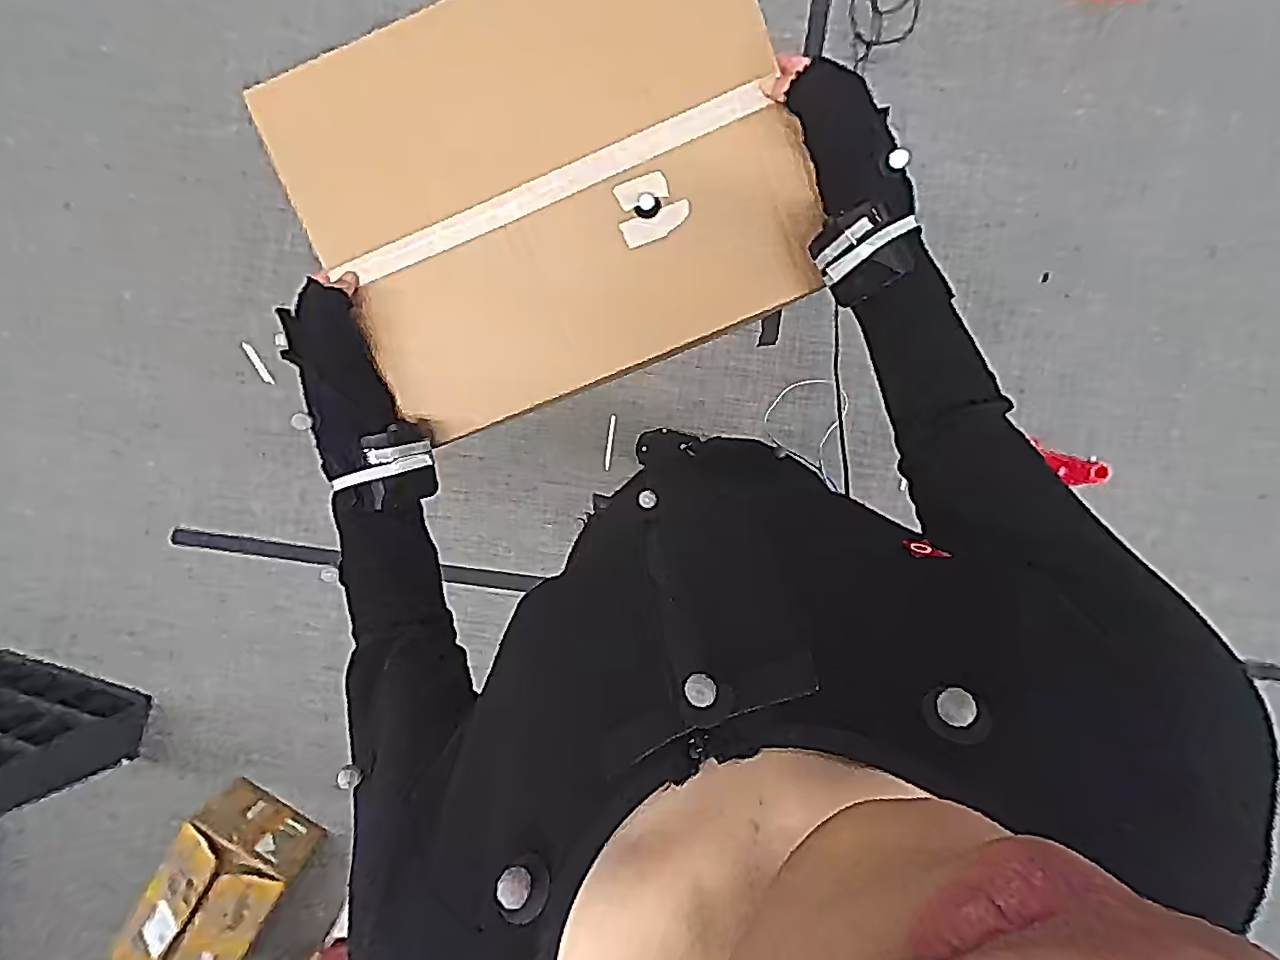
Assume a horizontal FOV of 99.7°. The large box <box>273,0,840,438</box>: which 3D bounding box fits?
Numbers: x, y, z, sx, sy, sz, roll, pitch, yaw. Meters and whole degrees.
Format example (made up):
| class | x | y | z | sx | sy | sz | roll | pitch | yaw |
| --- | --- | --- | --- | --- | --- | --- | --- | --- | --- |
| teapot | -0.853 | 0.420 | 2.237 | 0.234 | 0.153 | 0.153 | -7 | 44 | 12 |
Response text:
| class | x | y | z | sx | sy | sz | roll | pitch | yaw |
| --- | --- | --- | --- | --- | --- | --- | --- | --- | --- |
| large box | -0.067 | -0.270 | 0.598 | 0.408 | 0.320 | 0.320 | -21 | 100 | 3 |
